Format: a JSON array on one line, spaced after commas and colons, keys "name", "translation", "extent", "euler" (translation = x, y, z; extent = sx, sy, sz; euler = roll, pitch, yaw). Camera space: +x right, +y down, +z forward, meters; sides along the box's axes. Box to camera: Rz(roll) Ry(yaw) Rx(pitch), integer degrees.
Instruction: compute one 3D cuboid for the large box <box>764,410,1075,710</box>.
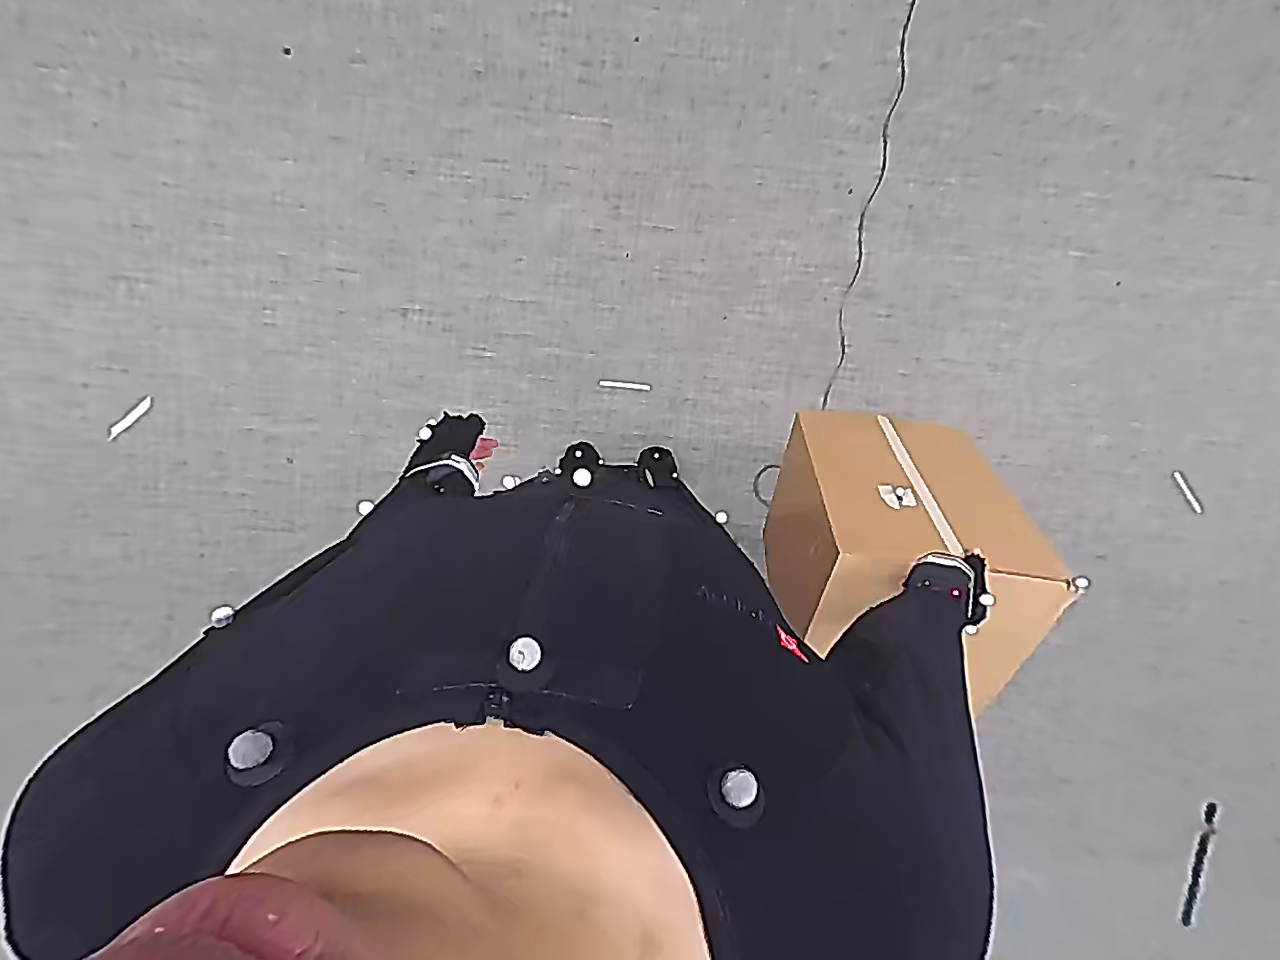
[{"name": "large box", "translation": [0.423, 0.124, 0.957], "extent": [0.320, 0.408, 0.320], "euler": [7, 127, 2]}]
